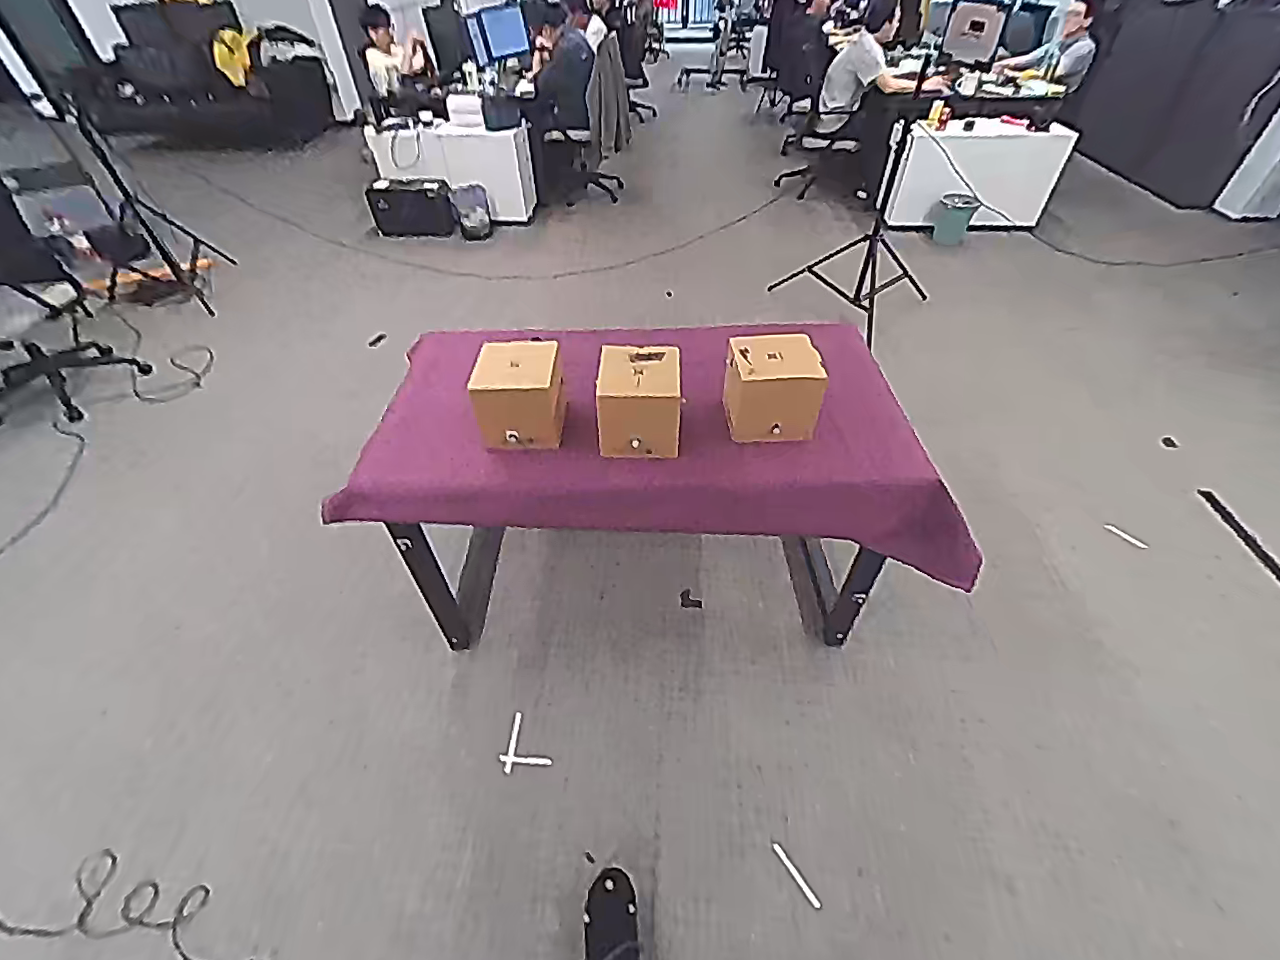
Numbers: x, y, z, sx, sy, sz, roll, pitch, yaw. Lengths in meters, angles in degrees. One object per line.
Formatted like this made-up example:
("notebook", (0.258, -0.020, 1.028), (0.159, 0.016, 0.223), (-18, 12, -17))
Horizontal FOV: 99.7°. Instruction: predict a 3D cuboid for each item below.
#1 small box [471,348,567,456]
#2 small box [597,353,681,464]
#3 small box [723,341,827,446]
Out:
("small box", (-0.255, -0.171, 1.188), (0.168, 0.176, 0.179), (-2, 45, 1))
("small box", (0.002, -0.154, 1.162), (0.168, 0.176, 0.179), (0, 45, 2))
("small box", (0.288, -0.189, 1.191), (0.179, 0.176, 0.168), (-2, 44, -1))
